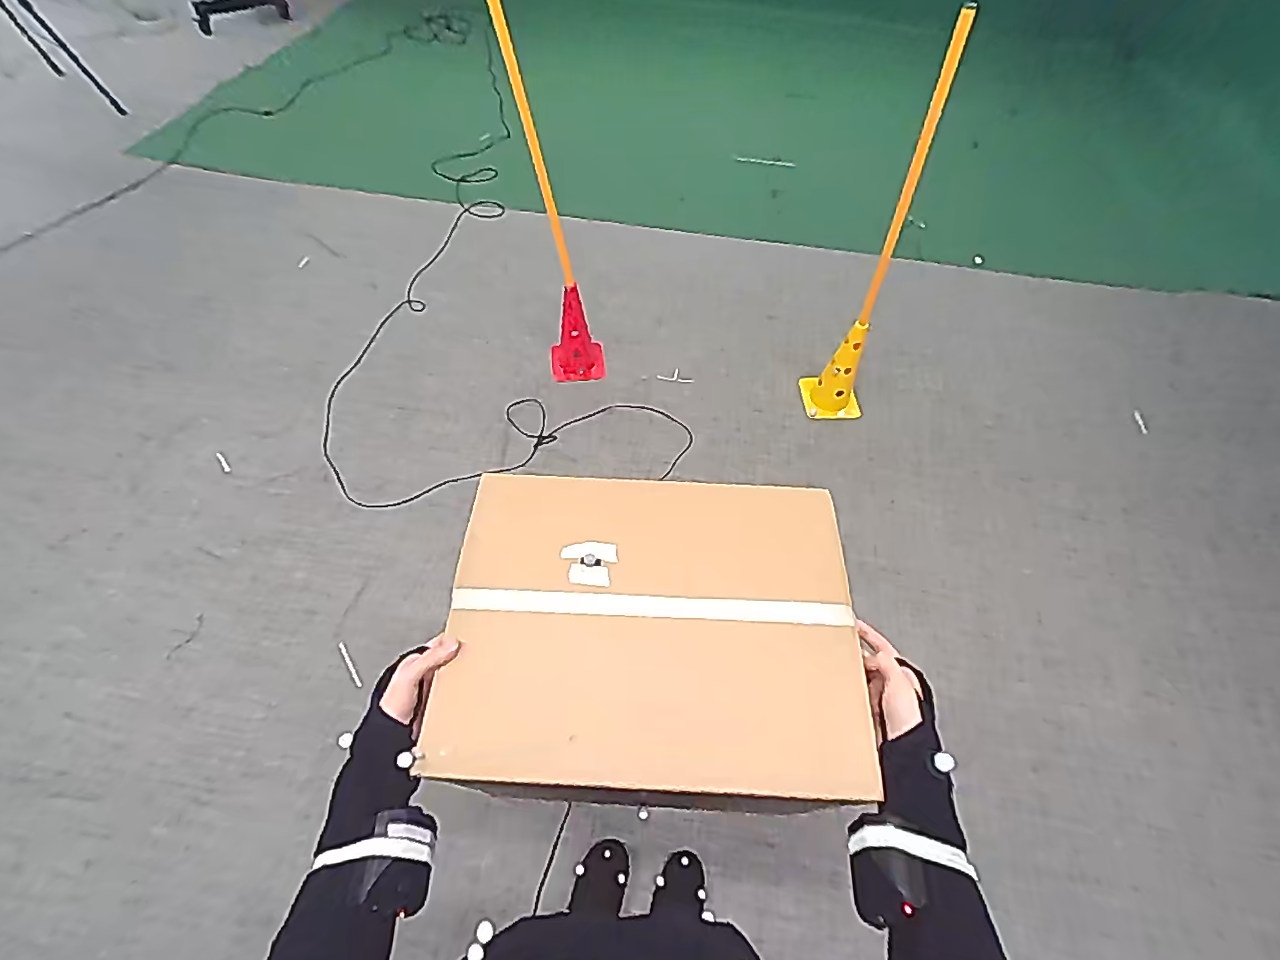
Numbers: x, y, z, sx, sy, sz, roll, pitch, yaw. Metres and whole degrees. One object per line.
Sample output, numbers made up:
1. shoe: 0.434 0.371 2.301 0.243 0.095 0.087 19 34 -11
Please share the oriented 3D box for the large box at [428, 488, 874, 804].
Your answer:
1. large box: 0.015 0.222 0.681 0.408 0.320 0.320 2 56 2
